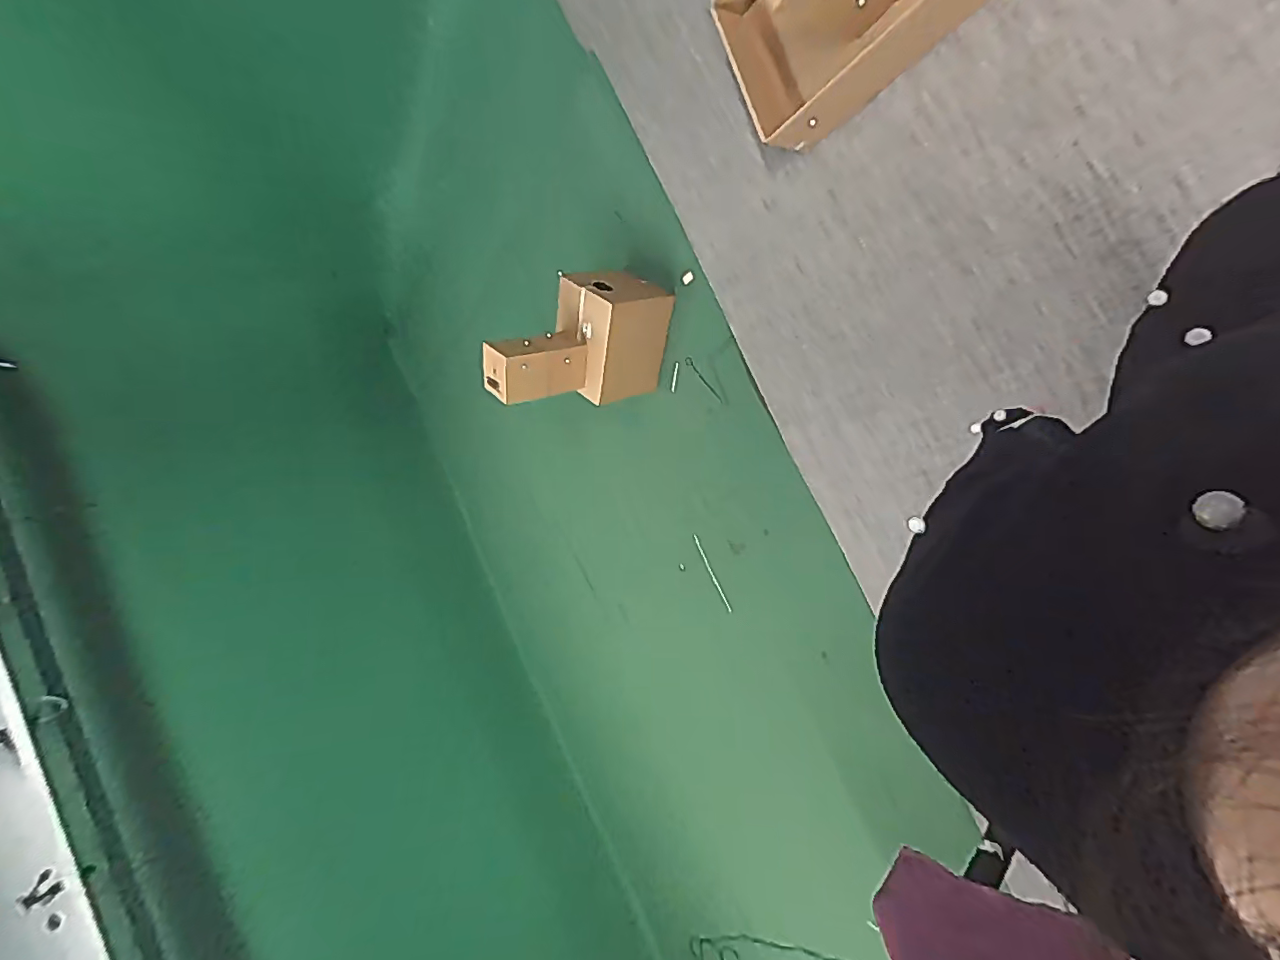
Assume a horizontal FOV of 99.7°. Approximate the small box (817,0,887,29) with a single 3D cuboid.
[{"bbox_3d":[0.467,-1.120,1.154,0.179,0.176,0.168,-21,92,53],"label":"small box"}]
